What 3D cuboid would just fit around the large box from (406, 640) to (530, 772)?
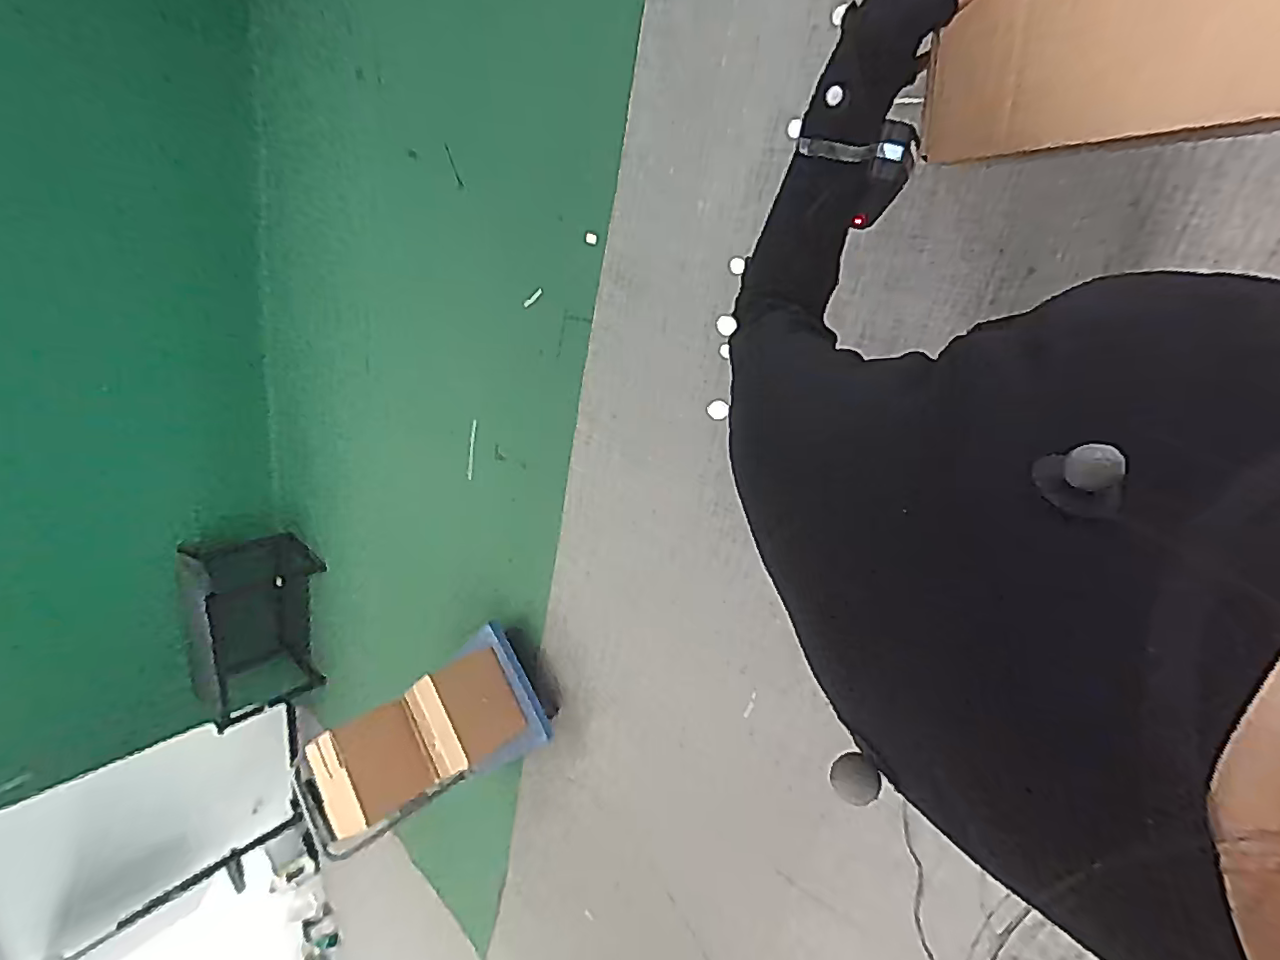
[{"bbox_3d":[-0.762,0.992,2.394,0.320,0.320,0.408,-41,75,38],"label":"large box"}]
